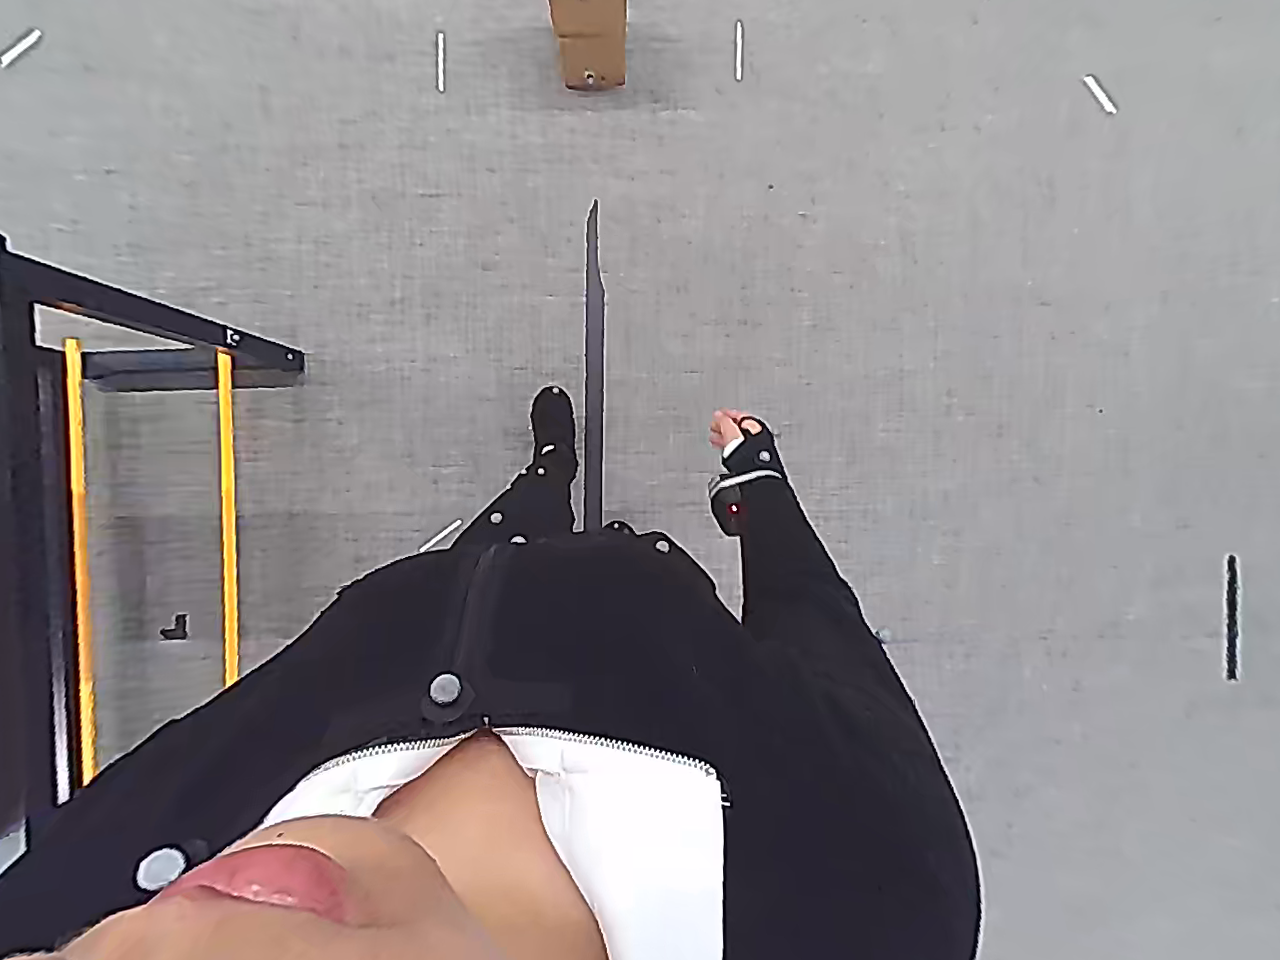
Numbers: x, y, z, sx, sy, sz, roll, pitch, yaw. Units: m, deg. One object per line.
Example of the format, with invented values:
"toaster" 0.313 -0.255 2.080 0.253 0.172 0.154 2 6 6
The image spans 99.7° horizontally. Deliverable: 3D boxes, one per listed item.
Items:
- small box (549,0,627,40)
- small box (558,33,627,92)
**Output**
"small box" -0.118 -1.129 1.208 0.179 0.176 0.168 -1 92 -2
"small box" -0.123 -1.133 1.373 0.168 0.176 0.179 -5 93 -1
